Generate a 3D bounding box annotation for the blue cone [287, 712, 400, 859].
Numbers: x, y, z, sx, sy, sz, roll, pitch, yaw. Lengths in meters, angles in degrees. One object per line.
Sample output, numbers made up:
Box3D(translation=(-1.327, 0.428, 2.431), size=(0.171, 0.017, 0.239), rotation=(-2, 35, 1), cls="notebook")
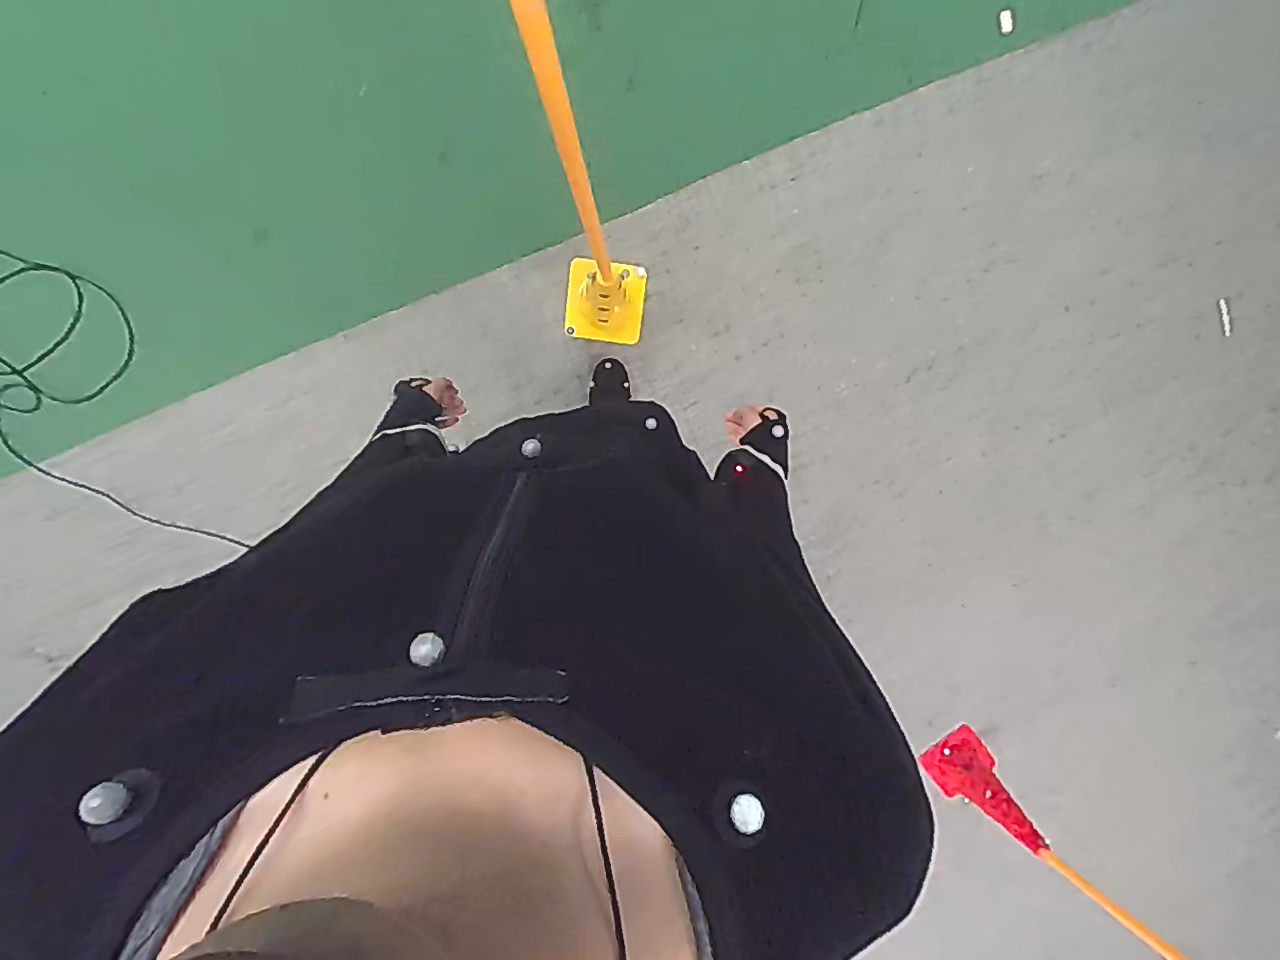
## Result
Box3D(translation=(-0.791, 0.809, 1.411), size=(0.192, 0.380, 0.193), rotation=(22, 101, -9), cls="blue cone")
